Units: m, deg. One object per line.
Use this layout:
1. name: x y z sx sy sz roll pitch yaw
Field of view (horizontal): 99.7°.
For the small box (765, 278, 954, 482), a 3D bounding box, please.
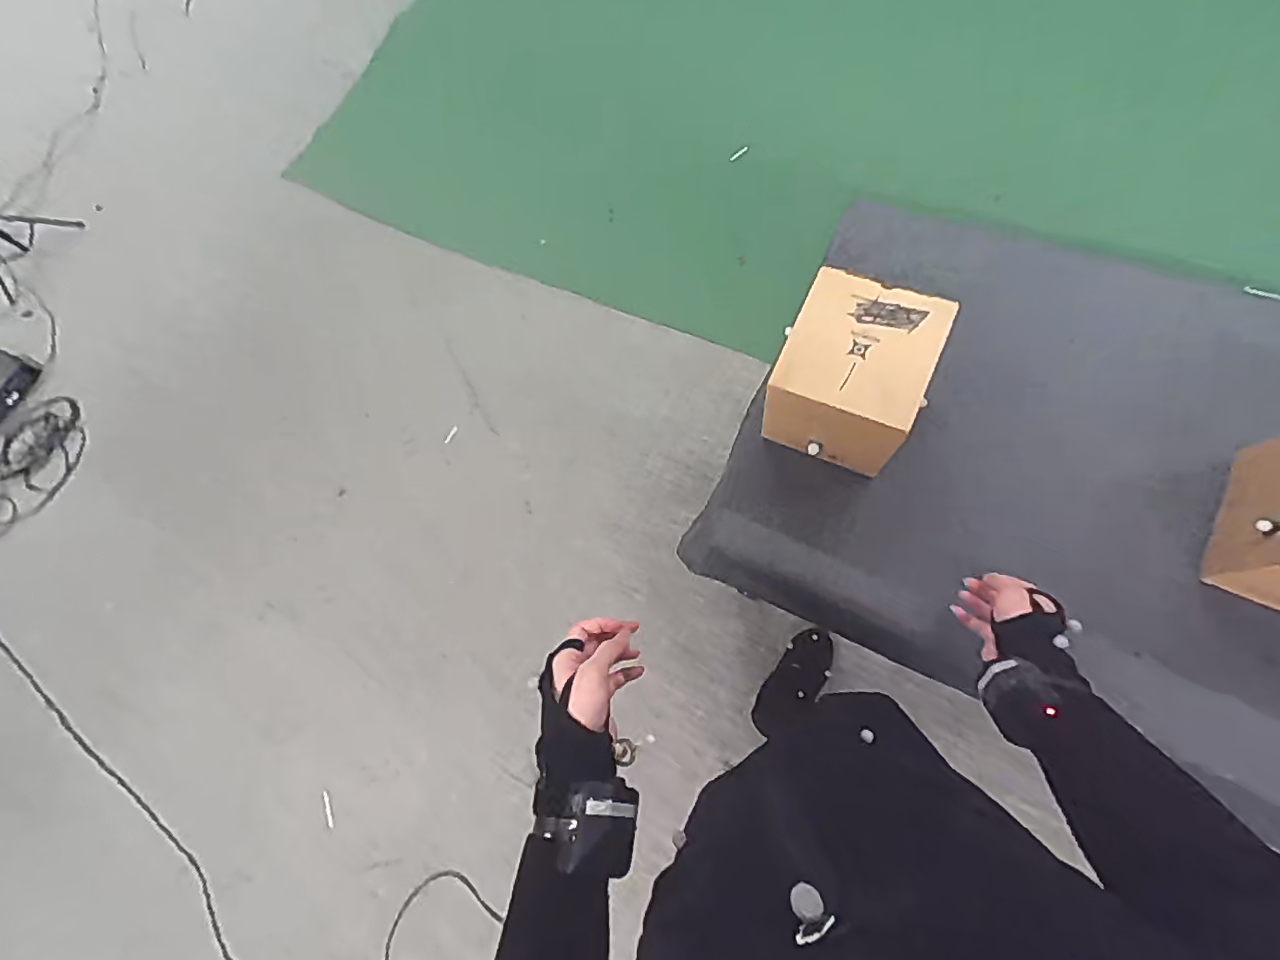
1. small box: 0.271 -0.122 0.710 0.168 0.176 0.179 24 79 16
